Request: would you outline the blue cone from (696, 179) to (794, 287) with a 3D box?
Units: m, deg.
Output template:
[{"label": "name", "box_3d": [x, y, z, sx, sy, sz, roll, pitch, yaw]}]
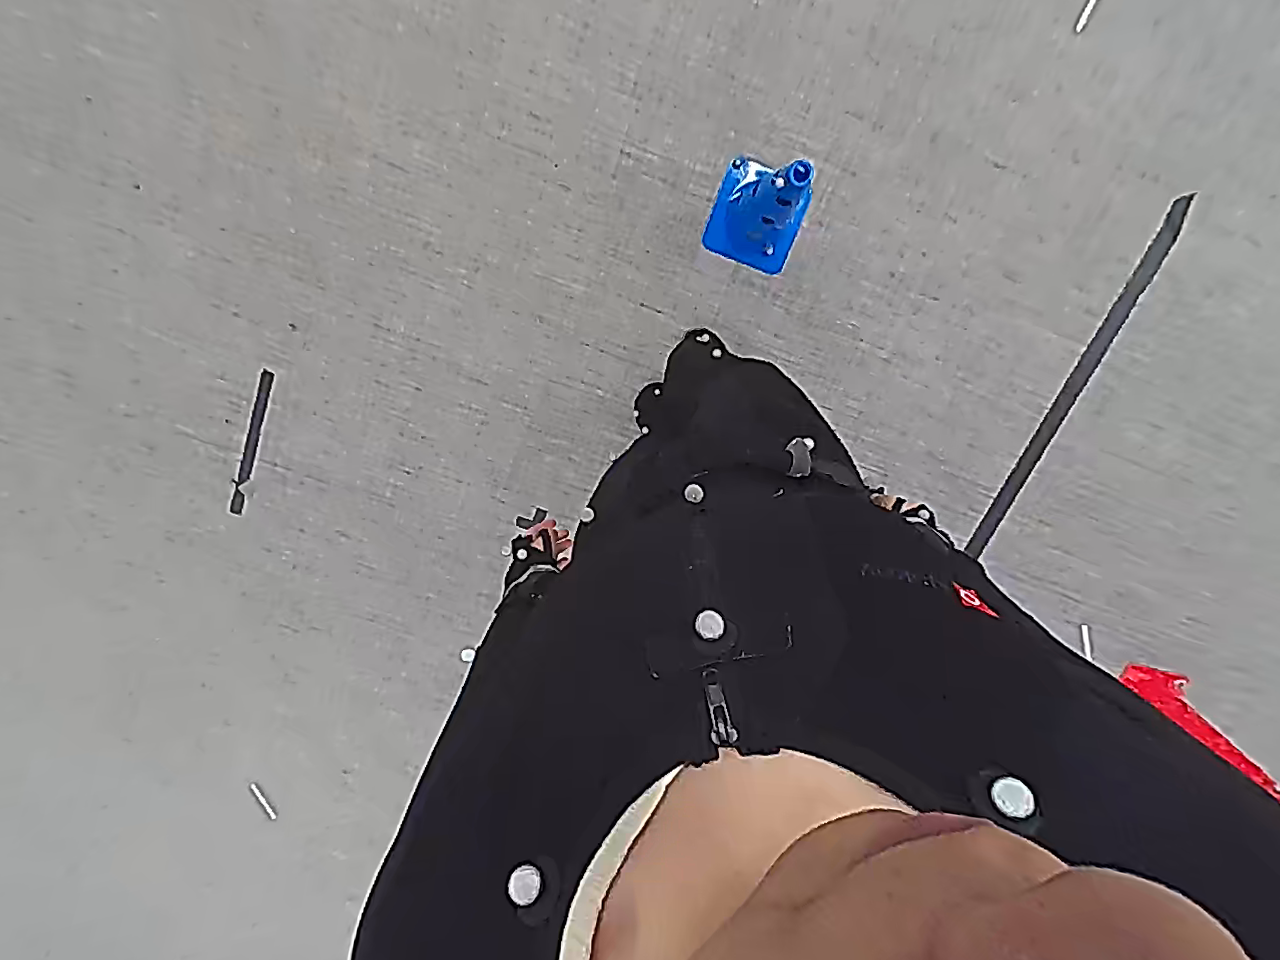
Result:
[{"label": "blue cone", "box_3d": [0.238, -0.516, 1.067, 0.192, 0.380, 0.193, 22, 103, -4]}]

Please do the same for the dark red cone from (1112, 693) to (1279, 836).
[{"label": "dark red cone", "box_3d": [1.444, 0.735, 1.354, 0.201, 0.394, 0.202, 13, 103, -3]}]
